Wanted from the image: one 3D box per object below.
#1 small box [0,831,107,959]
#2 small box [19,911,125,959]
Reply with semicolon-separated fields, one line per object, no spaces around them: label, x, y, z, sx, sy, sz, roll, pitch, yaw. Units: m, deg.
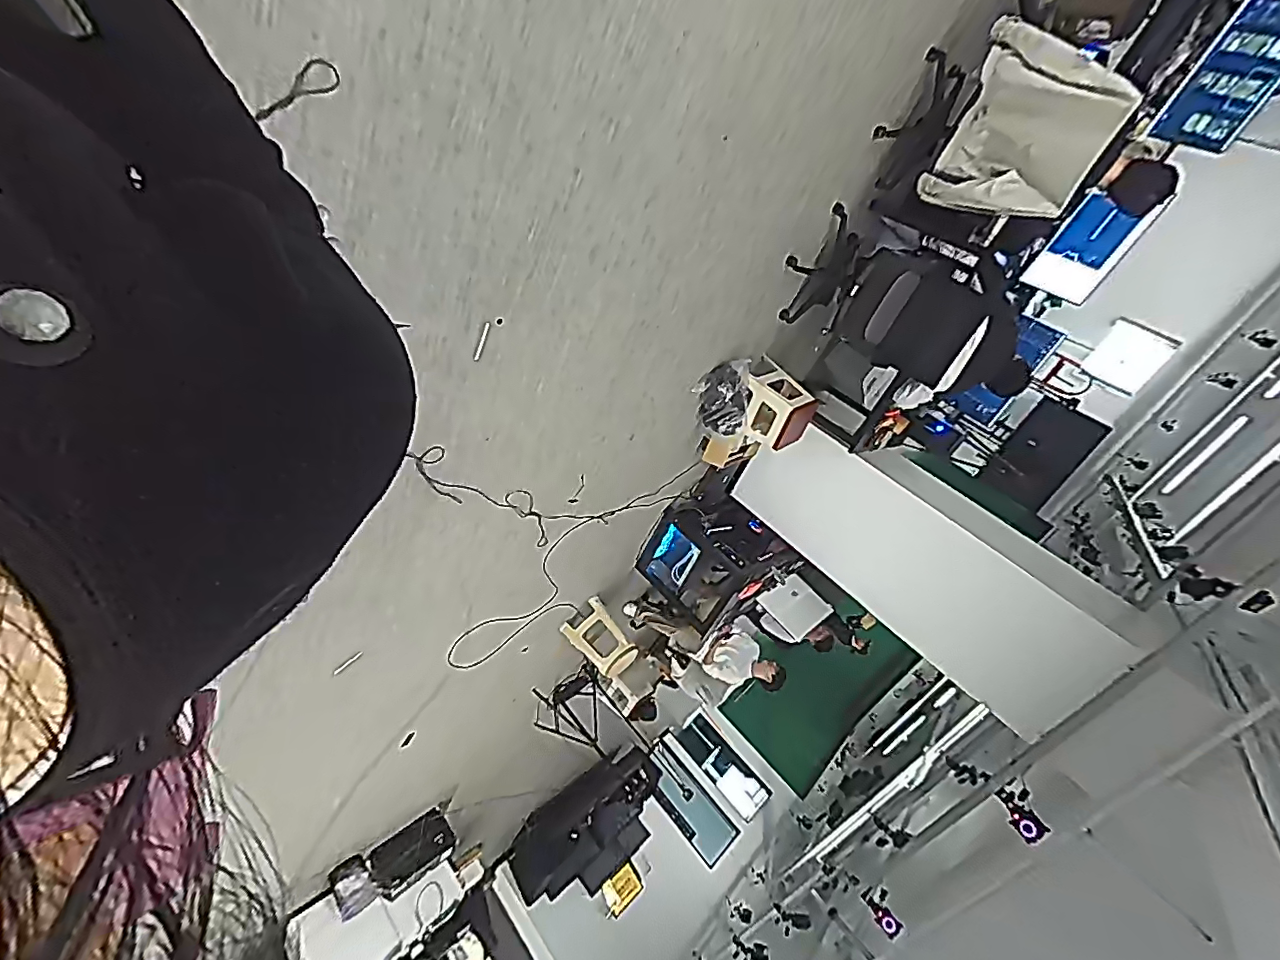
small box;-1.035;0.749;0.921;0.168;0.176;0.179;-13;138;-50
small box;-0.927;0.847;0.852;0.179;0.176;0.168;-15;141;-49
